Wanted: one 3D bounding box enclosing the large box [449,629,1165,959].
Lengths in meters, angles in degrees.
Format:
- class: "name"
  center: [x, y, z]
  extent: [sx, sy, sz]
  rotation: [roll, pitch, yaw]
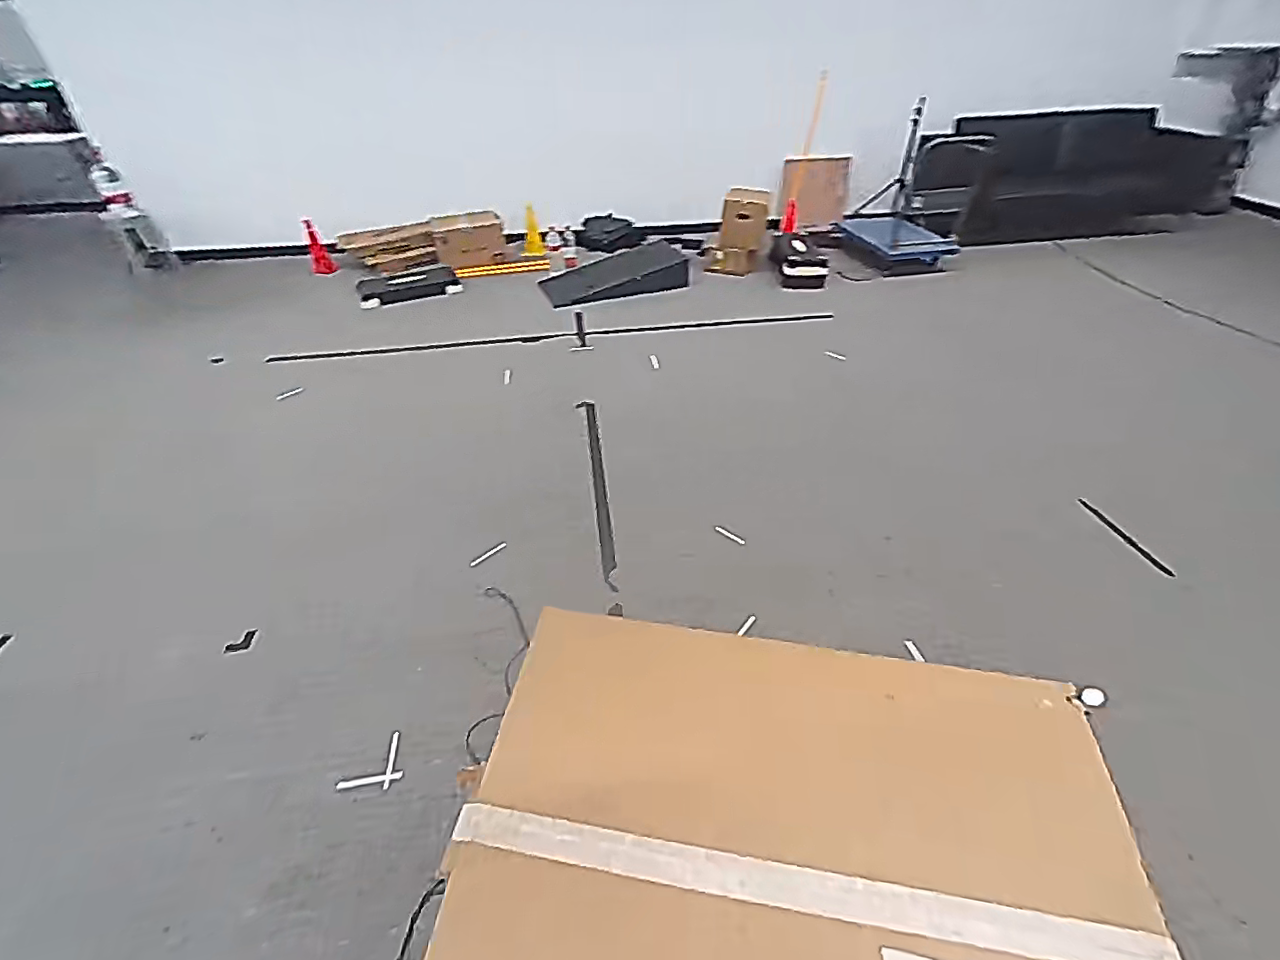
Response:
- class: "large box"
  center: [0.096, 0.352, 0.428]
  extent: [0.408, 0.320, 0.320]
  rotation: [6, 47, 6]
